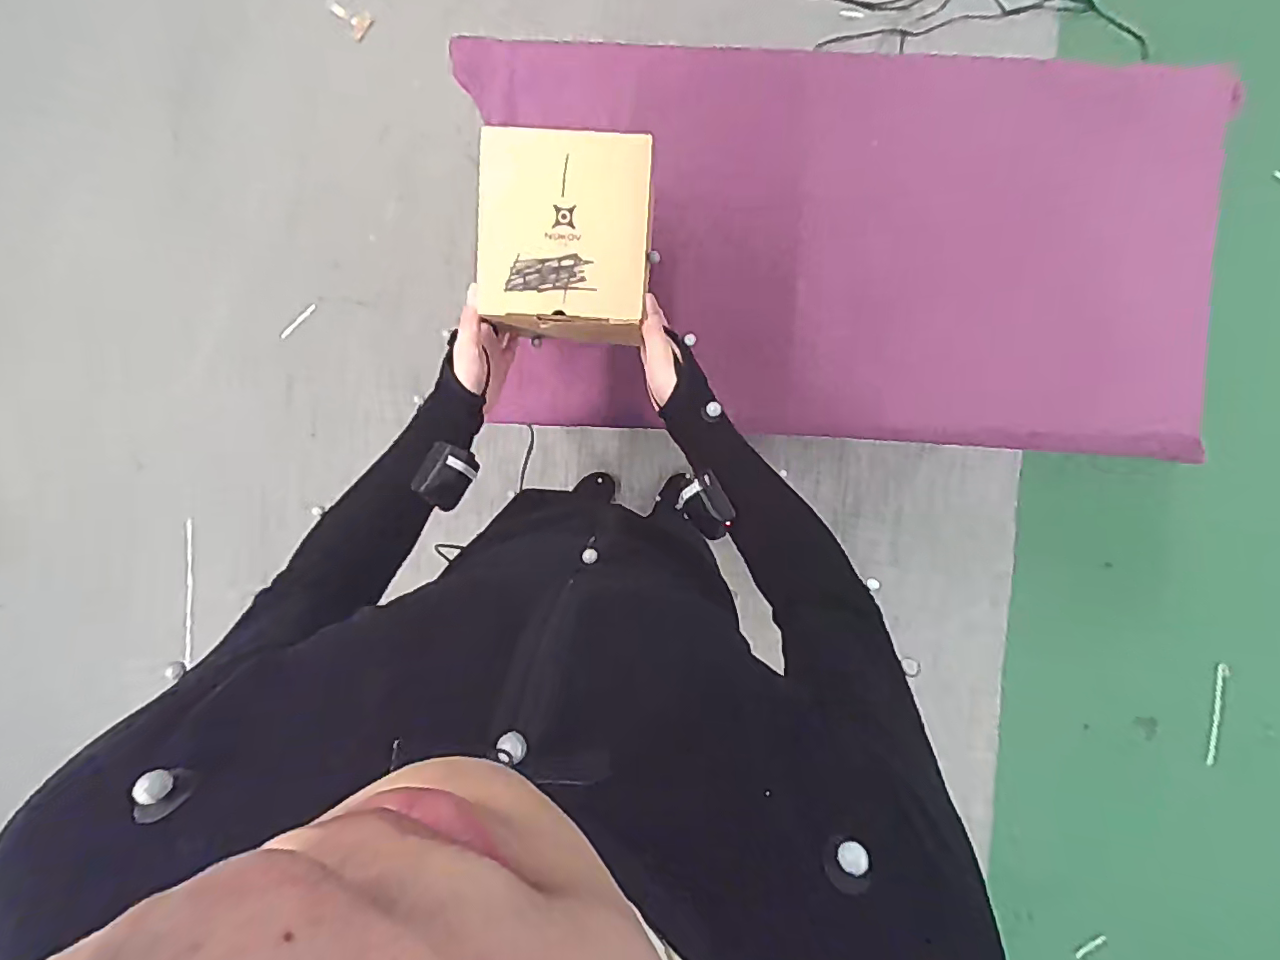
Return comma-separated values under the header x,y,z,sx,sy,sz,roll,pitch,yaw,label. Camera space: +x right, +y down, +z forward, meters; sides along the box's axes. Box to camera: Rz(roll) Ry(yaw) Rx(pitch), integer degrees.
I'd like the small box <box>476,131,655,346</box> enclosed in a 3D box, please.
x,y,z,sx,sy,sz,roll,pitch,yaw,label
-0.072,-0.249,0.599,0.168,0.176,0.179,4,96,2,small box
